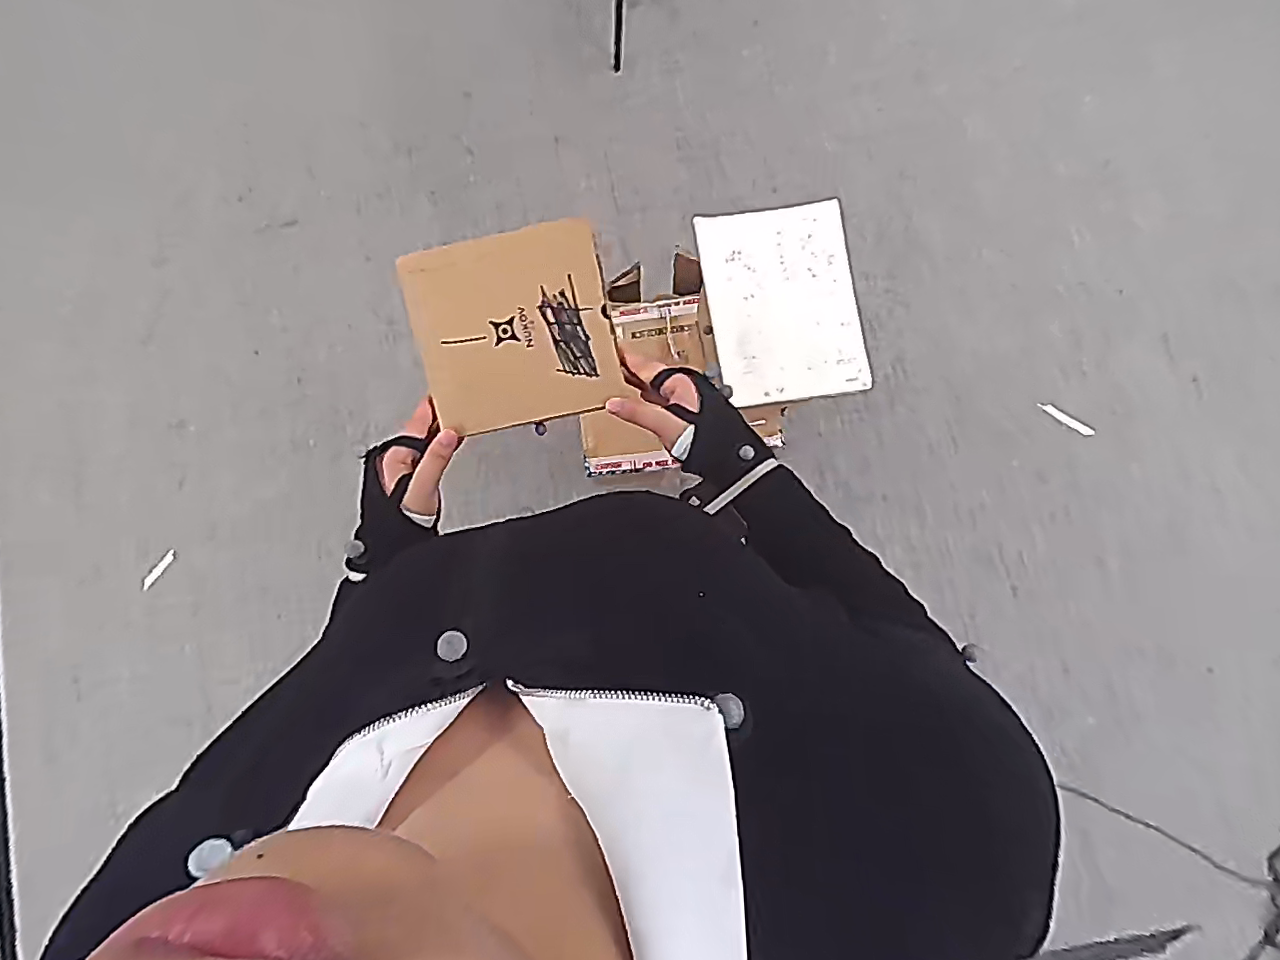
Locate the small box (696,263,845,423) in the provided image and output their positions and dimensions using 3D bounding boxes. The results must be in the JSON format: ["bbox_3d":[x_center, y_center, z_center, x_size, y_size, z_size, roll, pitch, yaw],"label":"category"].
[{"bbox_3d":[0.188,-0.201,0.832,0.168,0.176,0.179,-11,84,-1],"label":"small box"}]

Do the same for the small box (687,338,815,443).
[{"bbox_3d":[0.193,-0.175,0.993,0.179,0.176,0.168,-14,84,-1],"label":"small box"}]

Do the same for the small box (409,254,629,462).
[{"bbox_3d":[-0.113,-0.125,0.580,0.179,0.176,0.168,-12,99,0],"label":"small box"}]
